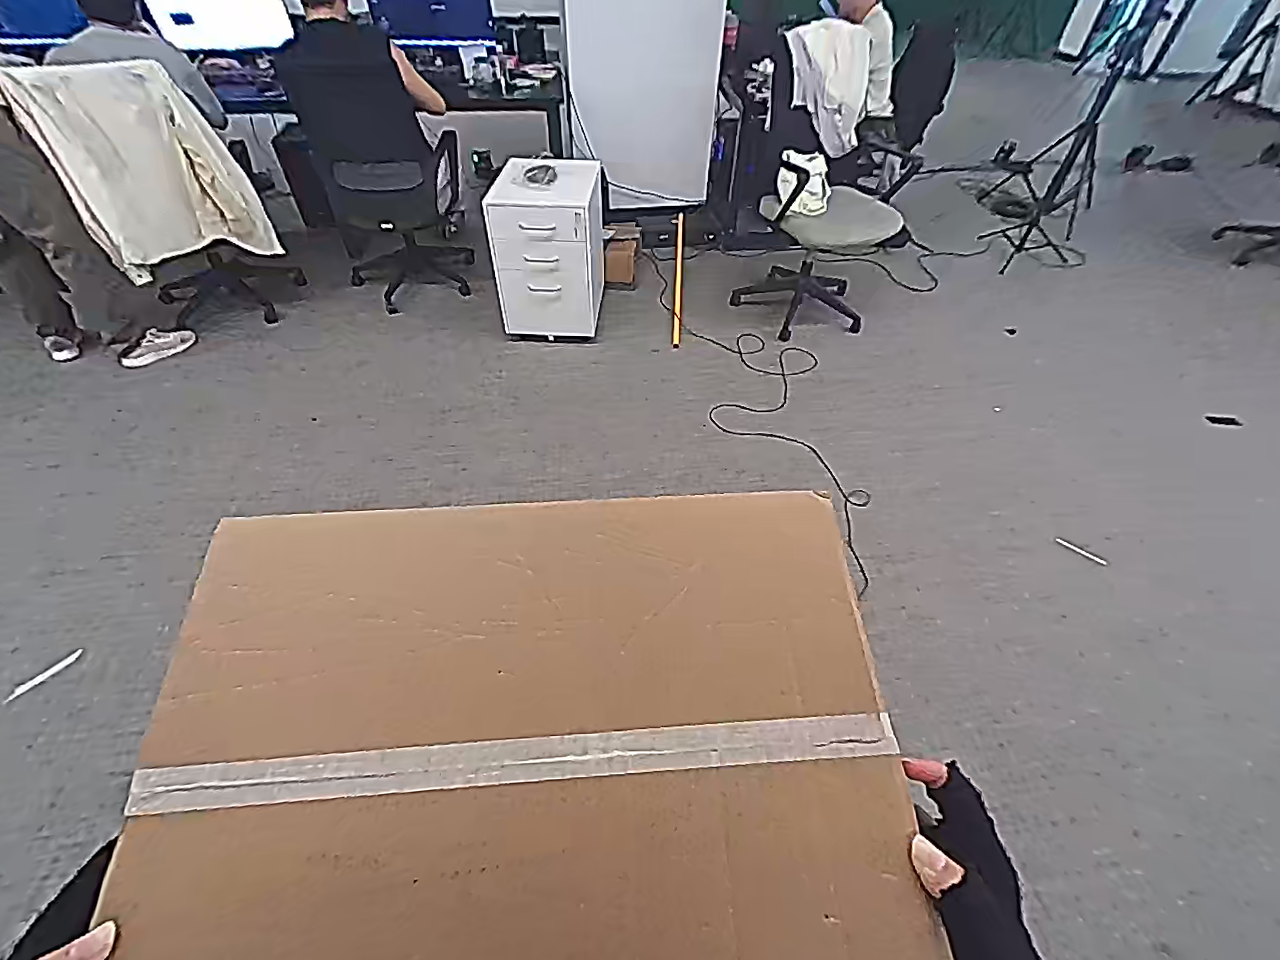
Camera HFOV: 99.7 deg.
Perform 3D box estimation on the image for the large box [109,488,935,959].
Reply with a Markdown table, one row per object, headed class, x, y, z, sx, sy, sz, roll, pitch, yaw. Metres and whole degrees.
| class | x | y | z | sx | sy | sz | roll | pitch | yaw |
| --- | --- | --- | --- | --- | --- | --- | --- | --- | --- |
| large box | -0.066 | 0.222 | 0.437 | 0.408 | 0.320 | 0.320 | -3 | 62 | -3 |
